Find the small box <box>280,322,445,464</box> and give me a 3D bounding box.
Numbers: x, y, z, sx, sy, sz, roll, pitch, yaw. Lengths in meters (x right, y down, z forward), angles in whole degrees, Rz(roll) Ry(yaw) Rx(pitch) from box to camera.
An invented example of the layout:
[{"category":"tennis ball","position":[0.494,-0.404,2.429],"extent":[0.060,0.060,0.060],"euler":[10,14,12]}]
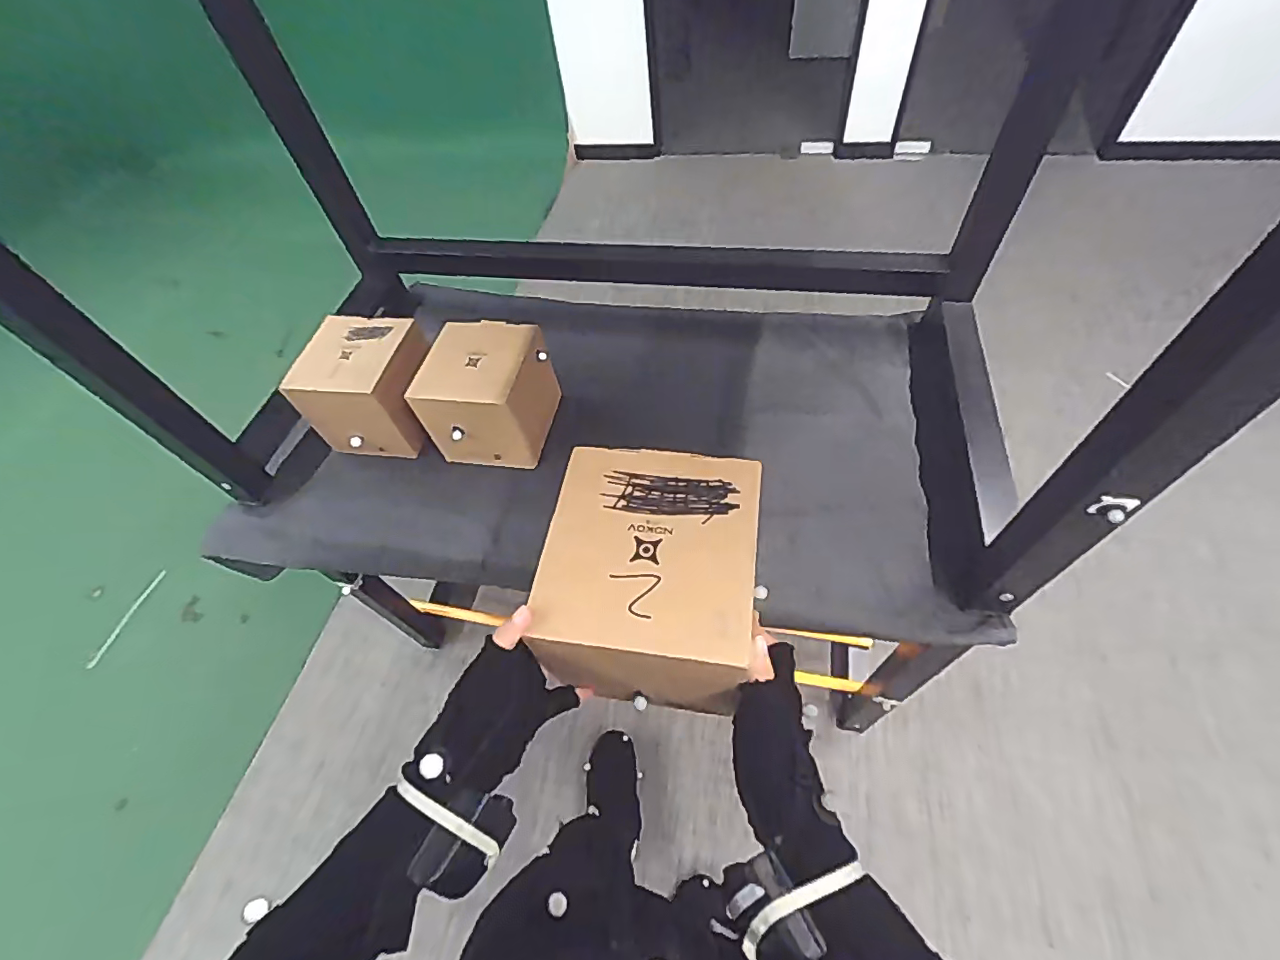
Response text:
[{"category":"small box","position":[-0.465,-0.151,0.945],"extent":[0.168,0.176,0.179],"euler":[4,56,10]}]
